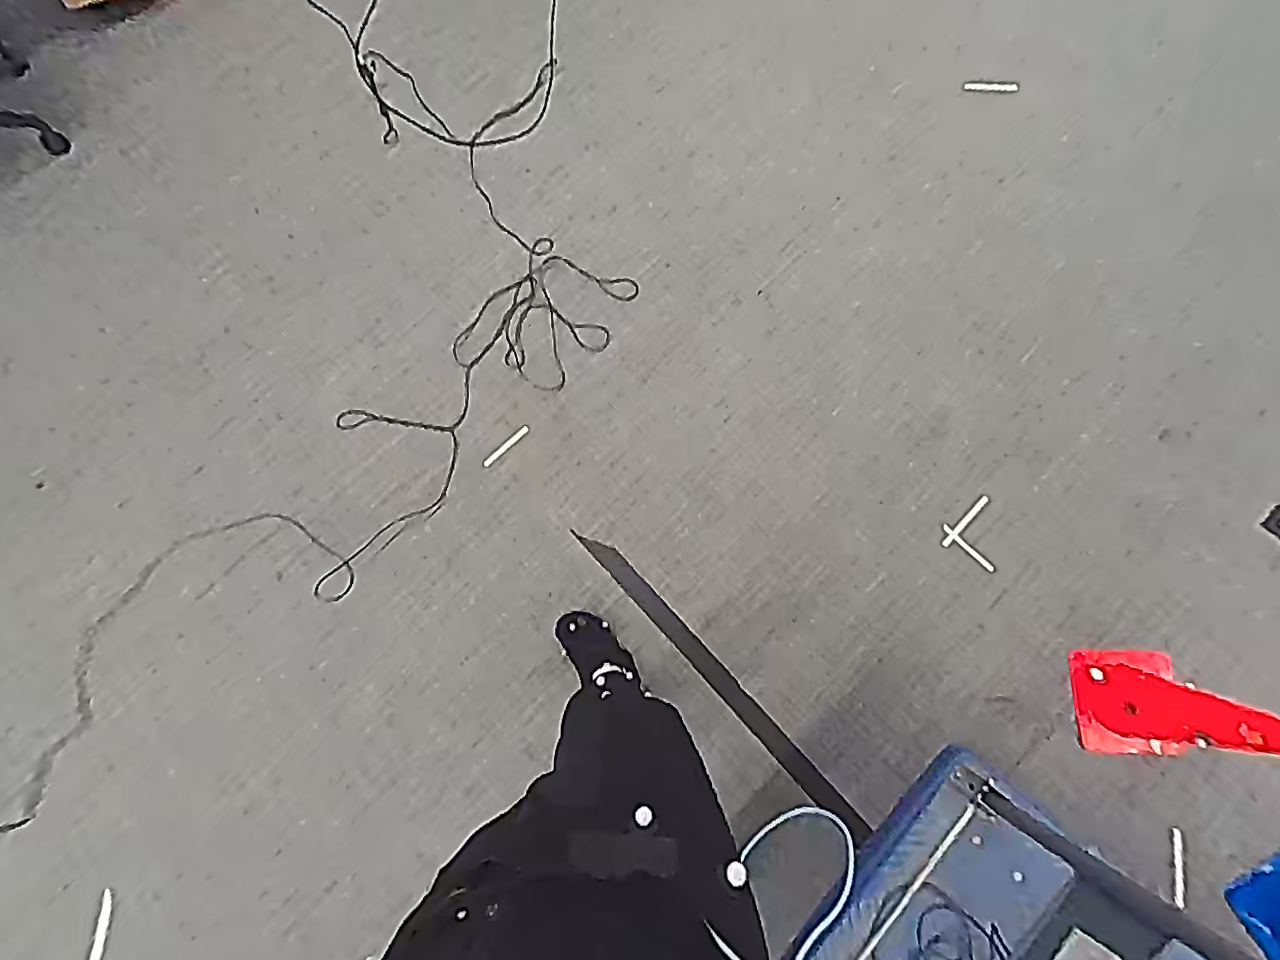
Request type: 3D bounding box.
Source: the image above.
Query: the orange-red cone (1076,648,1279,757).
[{"bbox_3d":[0.986,0.416,0.932,0.198,0.360,0.199,1,79,5],"label":"orange-red cone"}]

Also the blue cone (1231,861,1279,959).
[{"bbox_3d":[1.227,0.780,0.851,0.193,0.380,0.192,-28,76,-3],"label":"blue cone"}]
